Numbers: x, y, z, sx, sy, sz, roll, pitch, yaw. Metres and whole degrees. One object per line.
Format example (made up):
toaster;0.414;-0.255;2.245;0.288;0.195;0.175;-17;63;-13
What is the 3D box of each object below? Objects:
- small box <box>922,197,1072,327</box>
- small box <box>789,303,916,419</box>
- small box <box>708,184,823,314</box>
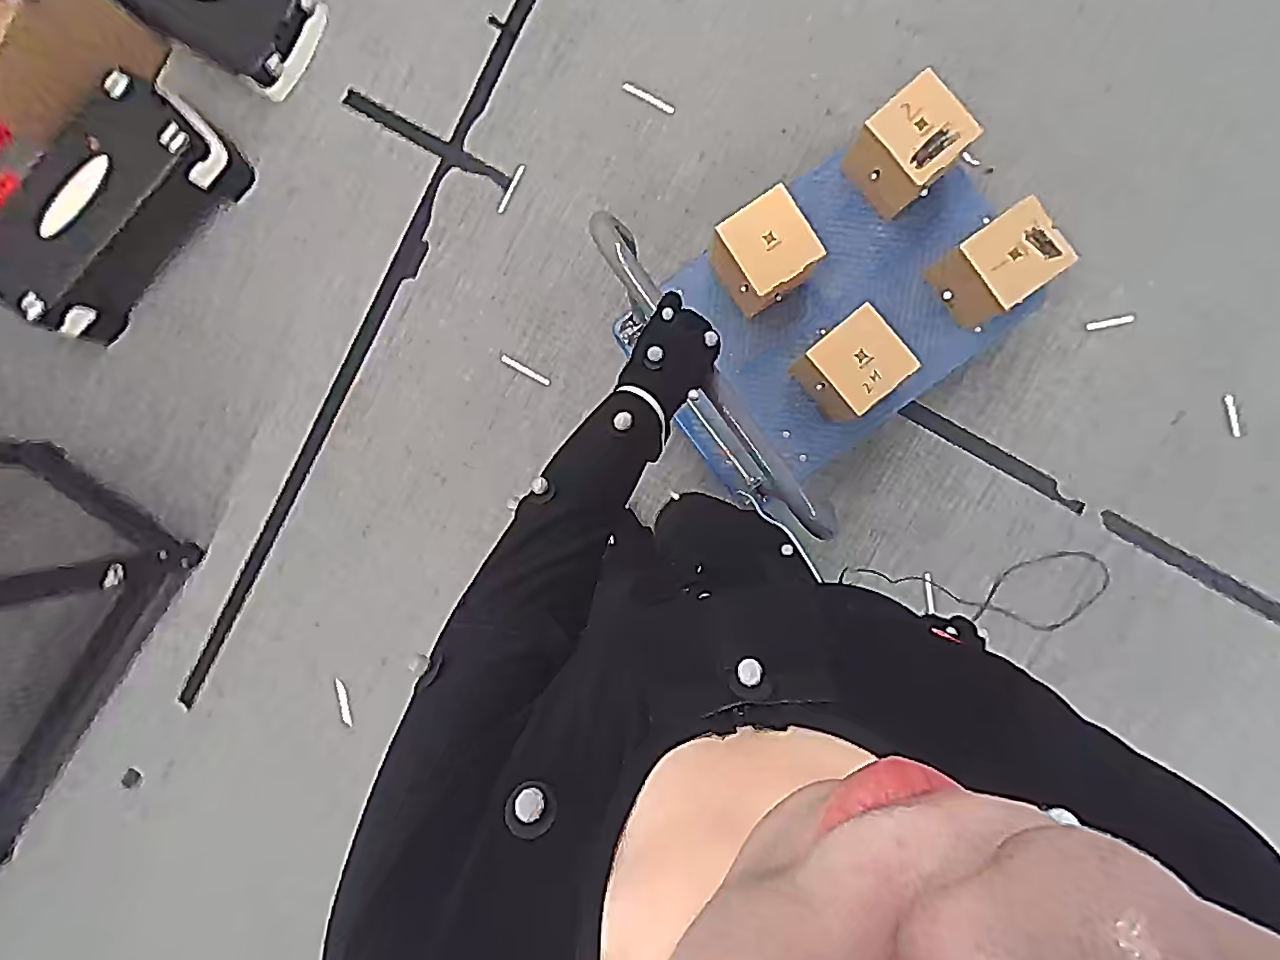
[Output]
small box;0.761;-0.462;1.173;0.179;0.176;0.168;-35;90;4
small box;0.456;-0.252;1.193;0.168;0.176;0.179;-39;90;3
small box;0.266;-0.497;1.193;0.168;0.176;0.179;-33;92;2
